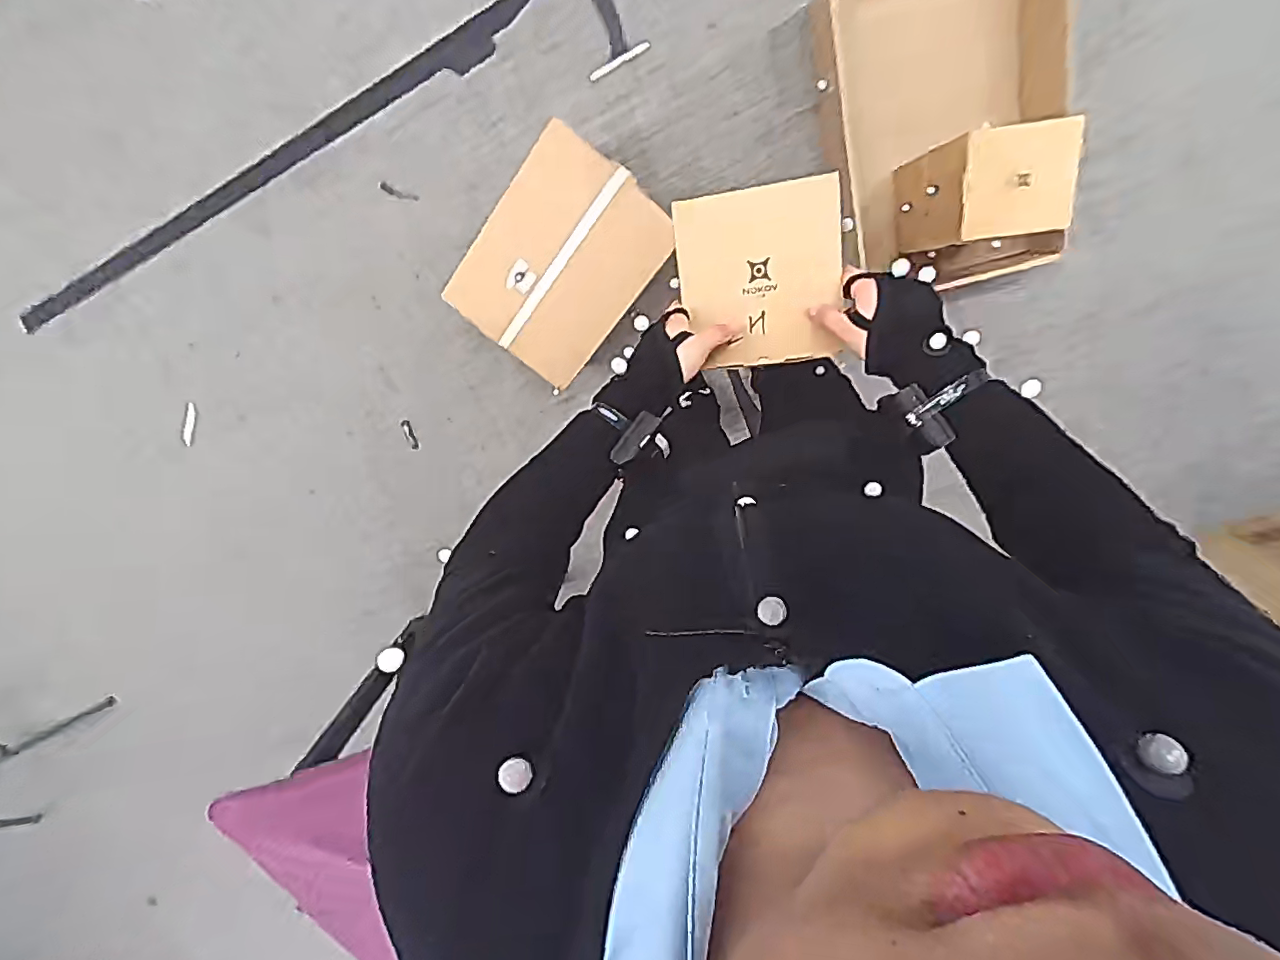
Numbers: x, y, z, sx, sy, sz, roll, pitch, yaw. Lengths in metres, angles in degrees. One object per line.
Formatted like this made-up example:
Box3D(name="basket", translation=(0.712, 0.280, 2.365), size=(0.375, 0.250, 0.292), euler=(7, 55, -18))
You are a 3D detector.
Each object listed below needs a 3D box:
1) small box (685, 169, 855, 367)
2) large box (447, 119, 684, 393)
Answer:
Box3D(name="small box", translation=(0.147, -0.230, 0.622), size=(0.168, 0.176, 0.179), euler=(-2, 107, 13))
Box3D(name="large box", translation=(-0.142, -0.470, 1.187), size=(0.320, 0.320, 0.408), euler=(38, 110, -10))
